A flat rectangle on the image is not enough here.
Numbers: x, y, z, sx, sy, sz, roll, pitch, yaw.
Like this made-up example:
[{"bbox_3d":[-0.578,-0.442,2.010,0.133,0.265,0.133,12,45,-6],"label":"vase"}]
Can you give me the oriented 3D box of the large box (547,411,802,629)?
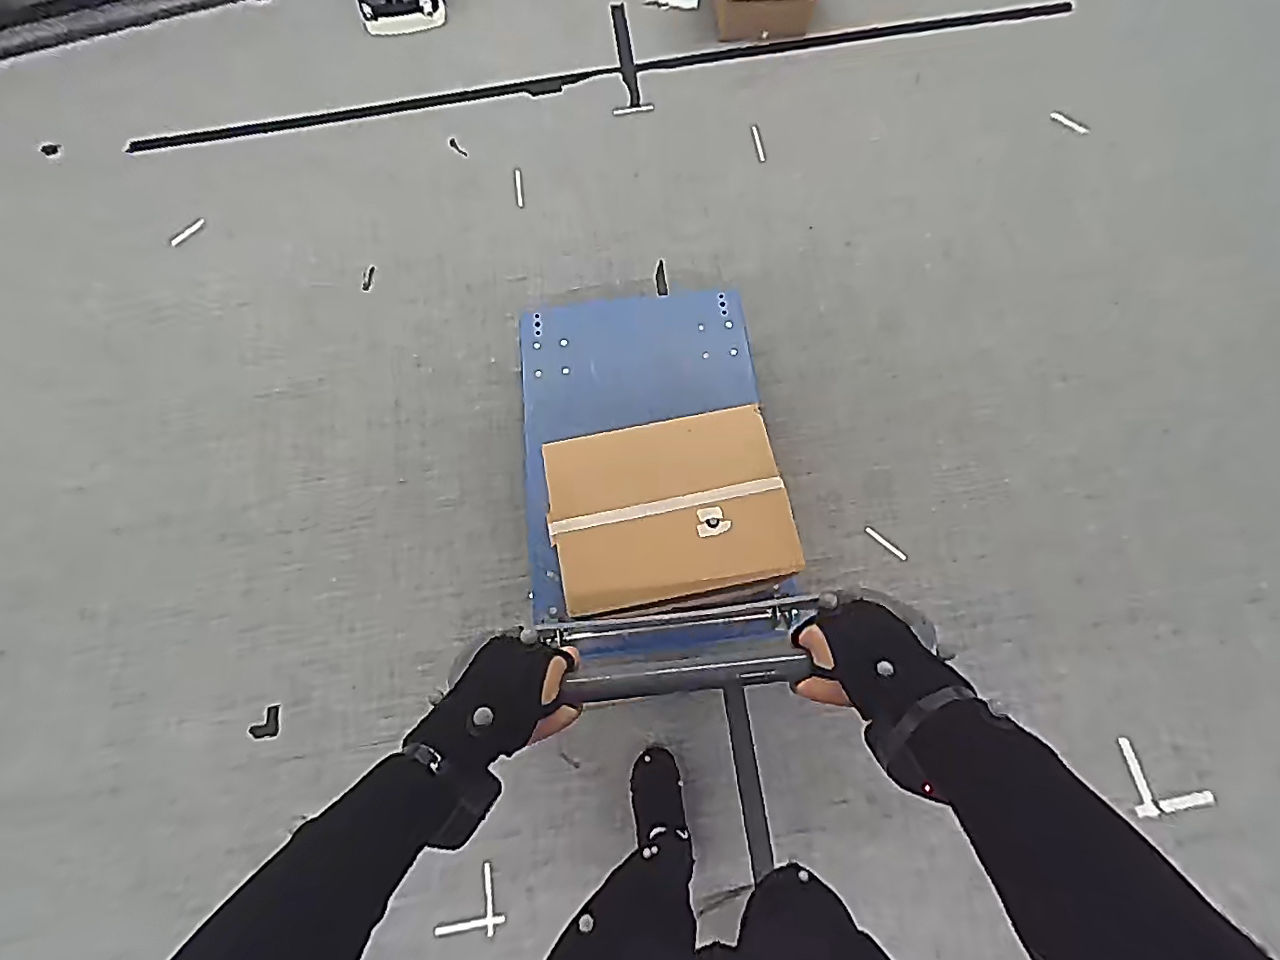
[{"bbox_3d":[0.054,0.099,1.095,0.408,0.320,0.320,-11,73,-3],"label":"large box"}]
